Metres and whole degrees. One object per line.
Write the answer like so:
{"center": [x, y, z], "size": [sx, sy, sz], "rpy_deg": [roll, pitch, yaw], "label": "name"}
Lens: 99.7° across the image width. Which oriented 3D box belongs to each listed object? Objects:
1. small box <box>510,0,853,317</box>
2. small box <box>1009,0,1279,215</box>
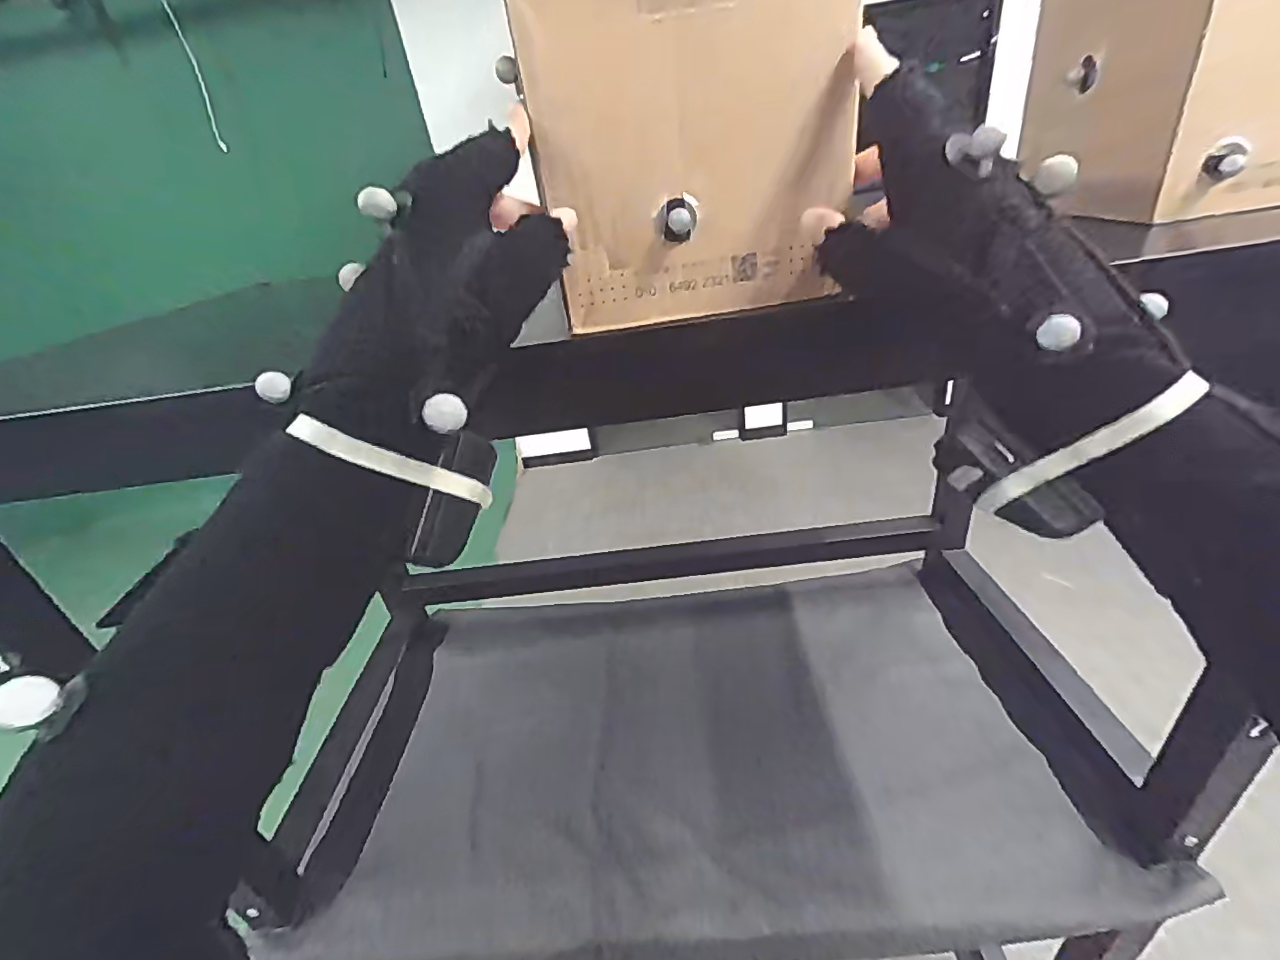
{"center": [0.022, -0.213, 0.356], "size": [0.168, 0.176, 0.179], "rpy_deg": [-9, 29, 0], "label": "small box"}
{"center": [0.402, -0.292, 0.384], "size": [0.168, 0.176, 0.179], "rpy_deg": [-6, 28, 7], "label": "small box"}
